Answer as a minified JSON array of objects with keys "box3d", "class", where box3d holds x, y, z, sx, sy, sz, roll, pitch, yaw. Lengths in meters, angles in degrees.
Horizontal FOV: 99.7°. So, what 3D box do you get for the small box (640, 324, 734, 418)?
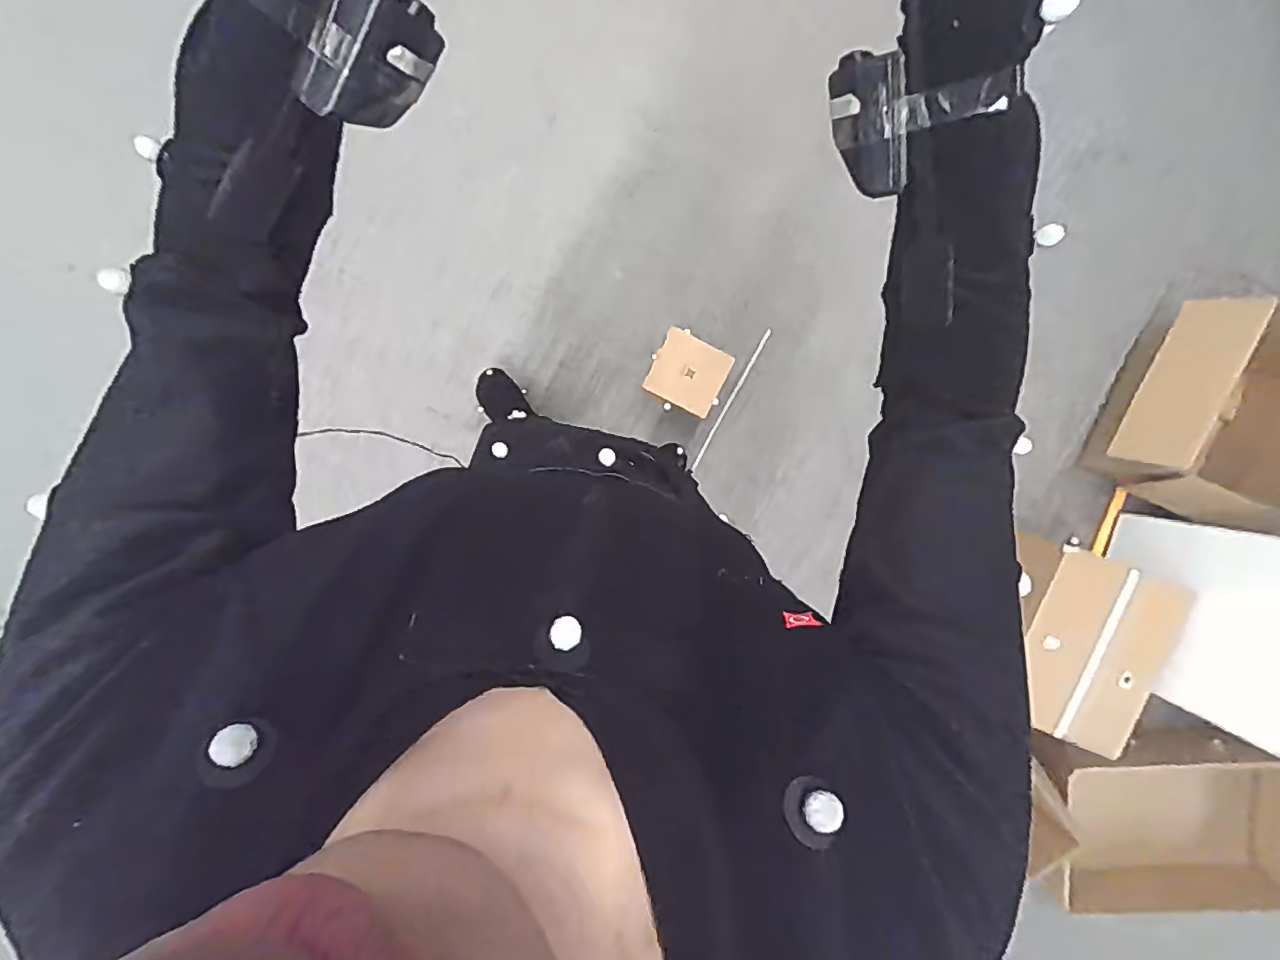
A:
[{"box3d":[0.114,-0.268,1.368,0.179,0.176,0.168,27,94,-1],"class":"small box"}]
